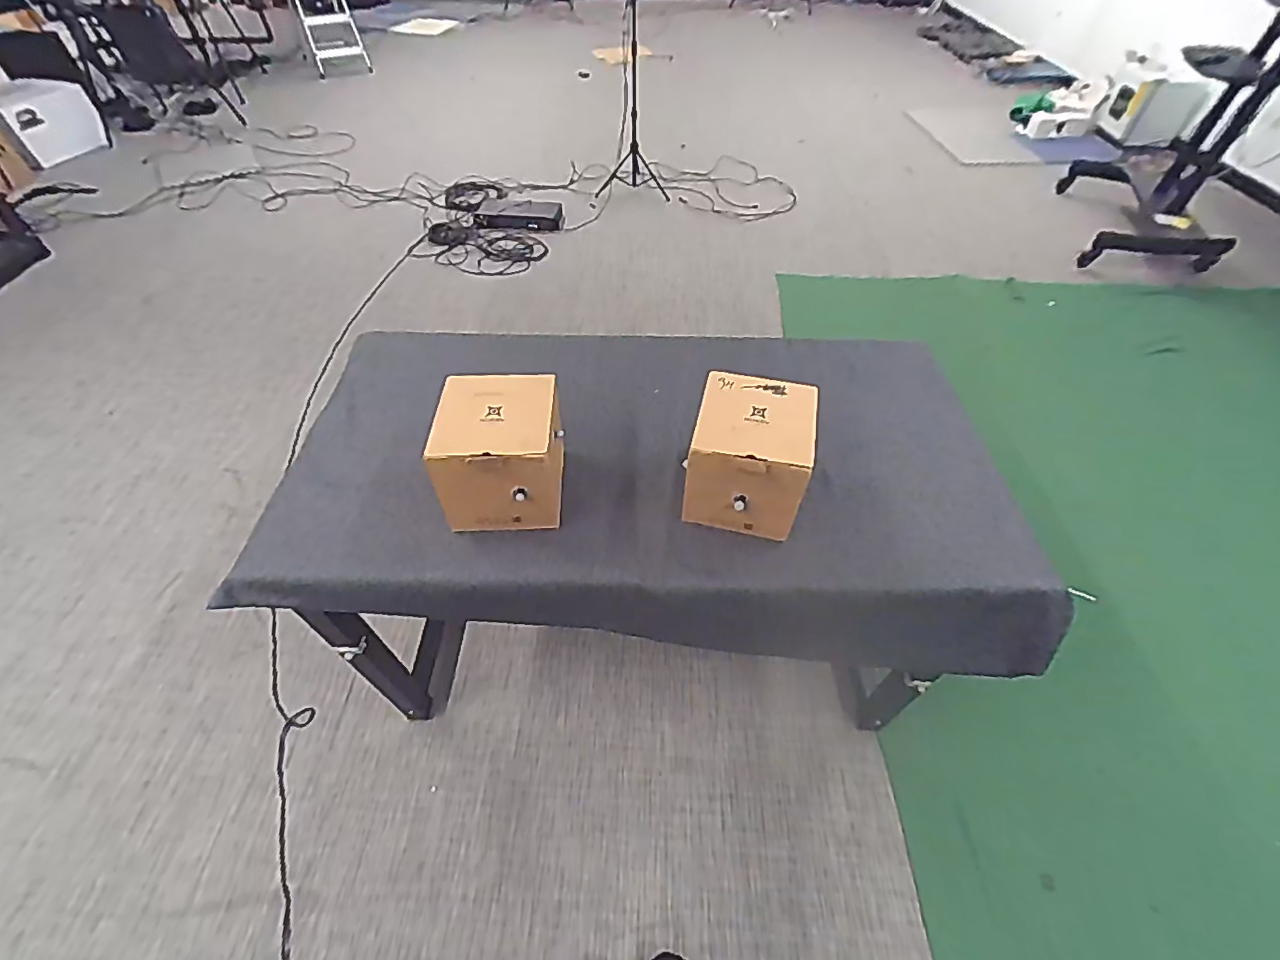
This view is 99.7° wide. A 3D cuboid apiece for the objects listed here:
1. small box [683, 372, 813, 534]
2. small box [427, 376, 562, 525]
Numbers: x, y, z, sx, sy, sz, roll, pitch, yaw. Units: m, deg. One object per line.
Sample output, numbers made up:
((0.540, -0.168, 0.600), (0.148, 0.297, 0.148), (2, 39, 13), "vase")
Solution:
((0.163, -0.039, 0.842), (0.168, 0.176, 0.179), (11, 51, 8), "small box")
((-0.212, -0.042, 0.841), (0.168, 0.176, 0.179), (-1, 47, -4), "small box")
